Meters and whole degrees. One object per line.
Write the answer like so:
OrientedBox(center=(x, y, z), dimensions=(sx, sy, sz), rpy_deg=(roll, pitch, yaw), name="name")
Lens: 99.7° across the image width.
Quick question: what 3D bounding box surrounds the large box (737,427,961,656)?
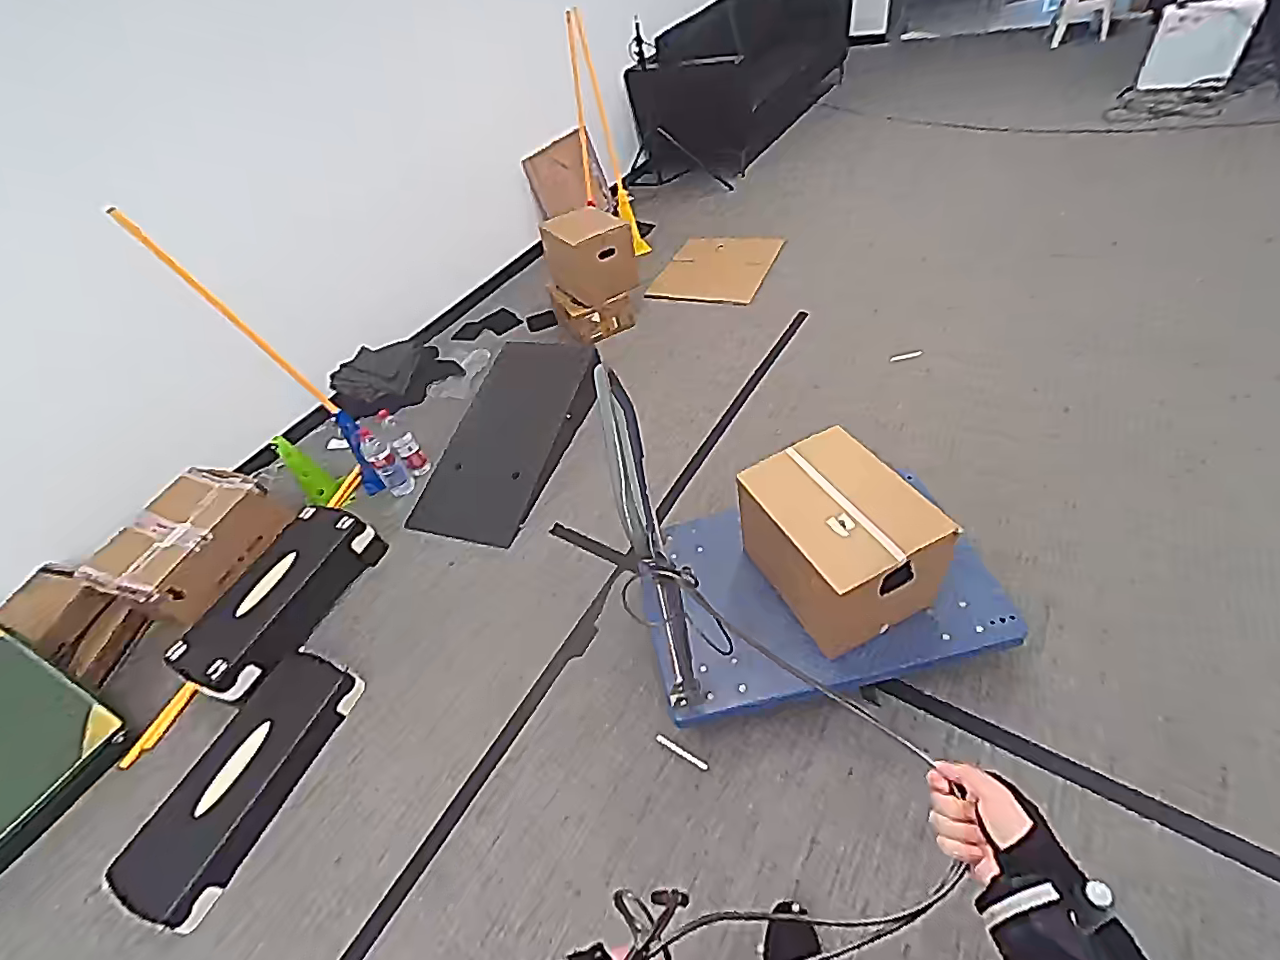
OrientedBox(center=(0.481, 0.145, 1.344), dimensions=(0.320, 0.320, 0.408), rpy_deg=(-26, 48, -9), name="large box")
